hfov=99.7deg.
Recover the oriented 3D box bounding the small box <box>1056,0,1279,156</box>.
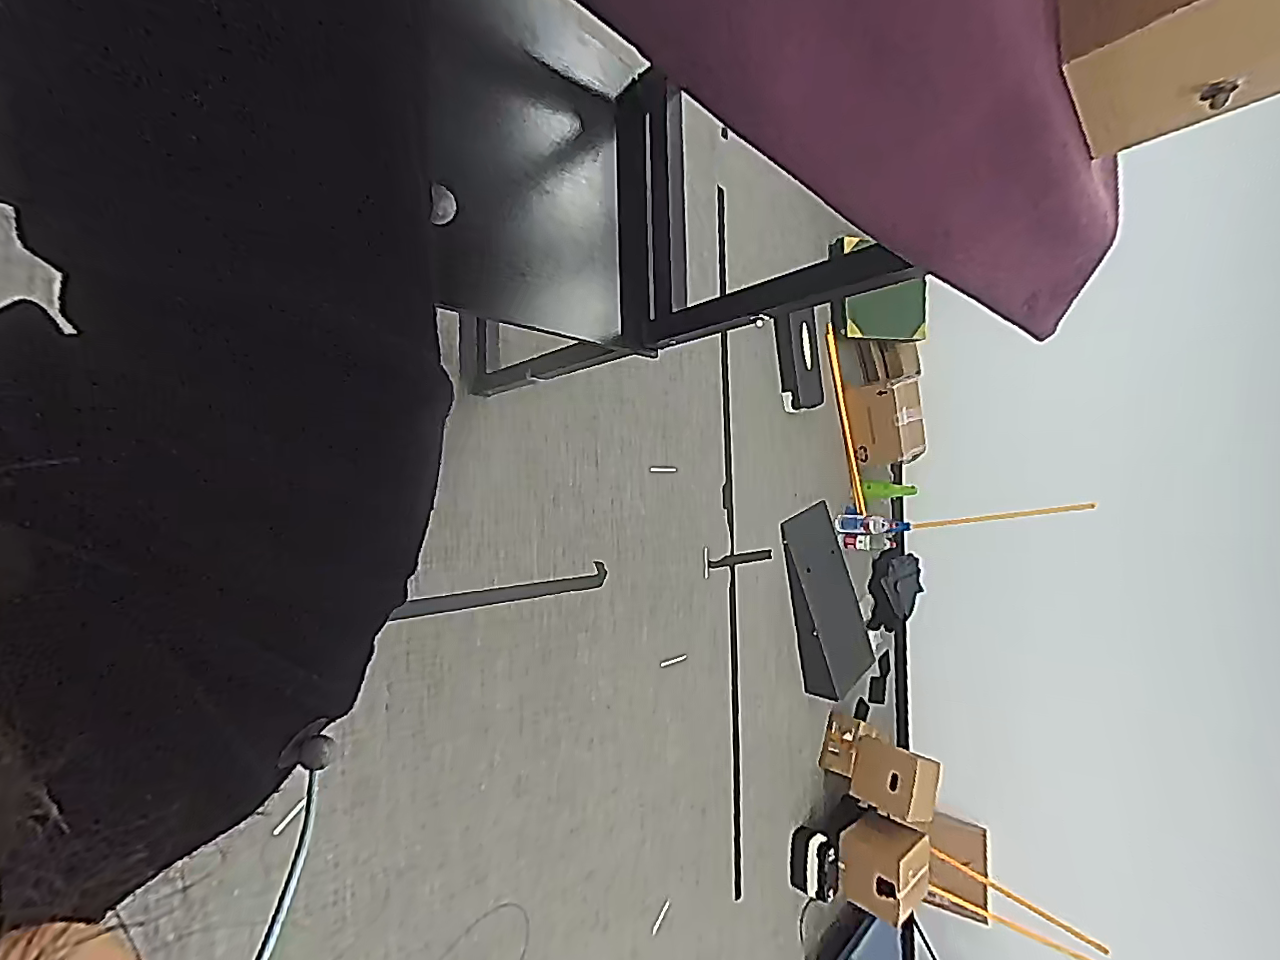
[{"bbox_3d":[0.458,-0.403,0.438,0.179,0.176,0.168,3,85,-43],"label":"small box"}]
